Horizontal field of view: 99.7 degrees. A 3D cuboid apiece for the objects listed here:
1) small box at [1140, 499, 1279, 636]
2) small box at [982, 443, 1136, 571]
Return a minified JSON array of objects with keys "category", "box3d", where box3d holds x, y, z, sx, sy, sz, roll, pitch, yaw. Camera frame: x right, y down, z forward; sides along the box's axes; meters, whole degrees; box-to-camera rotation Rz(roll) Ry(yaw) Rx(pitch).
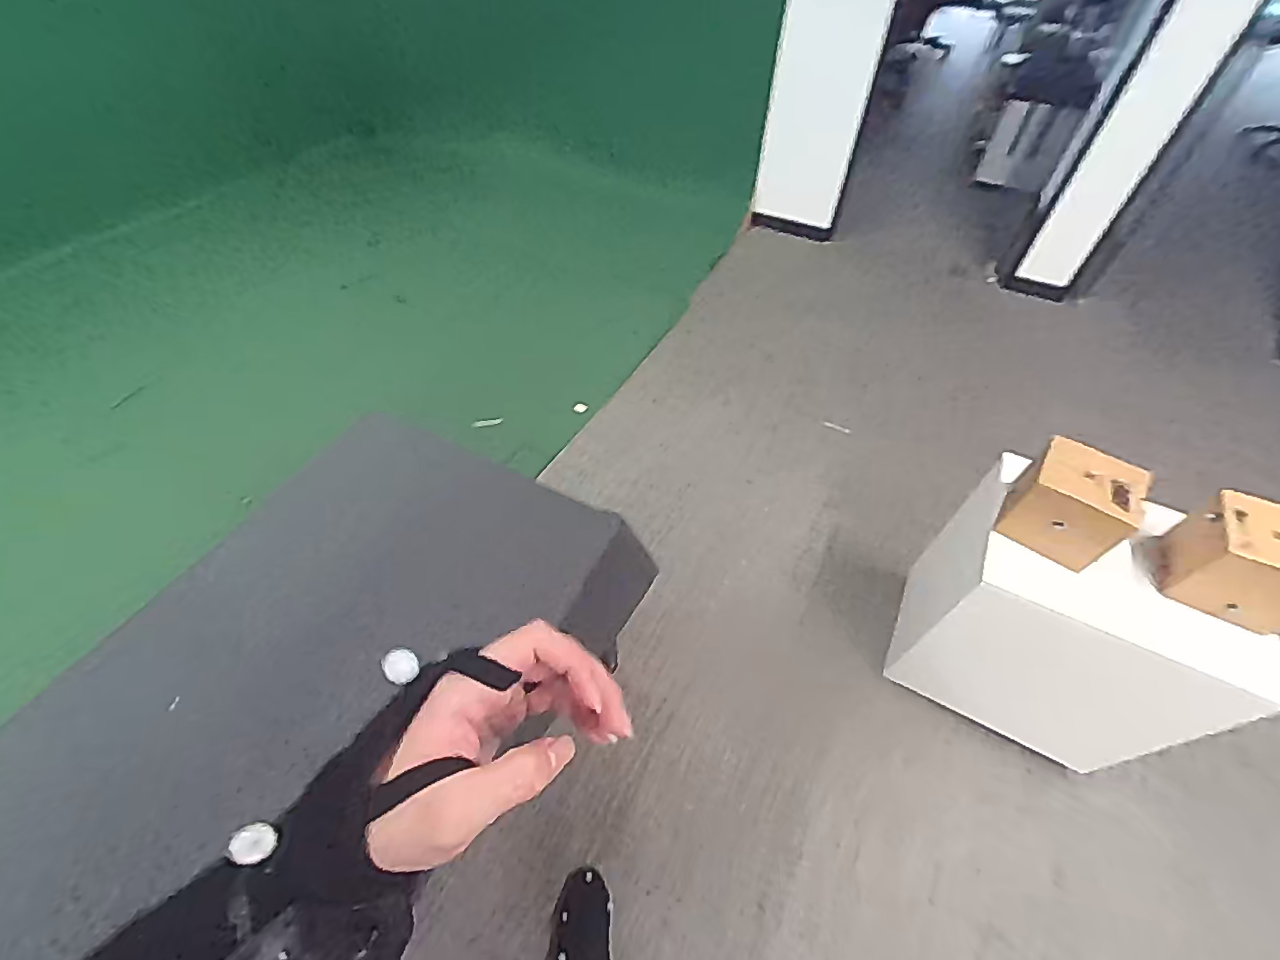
[{"category":"small box","box3d":[1.121,0.174,1.037,0.179,0.176,0.168,26,54,17]},{"category":"small box","box3d":[0.852,0.063,1.110,0.179,0.176,0.168,32,55,20]}]
